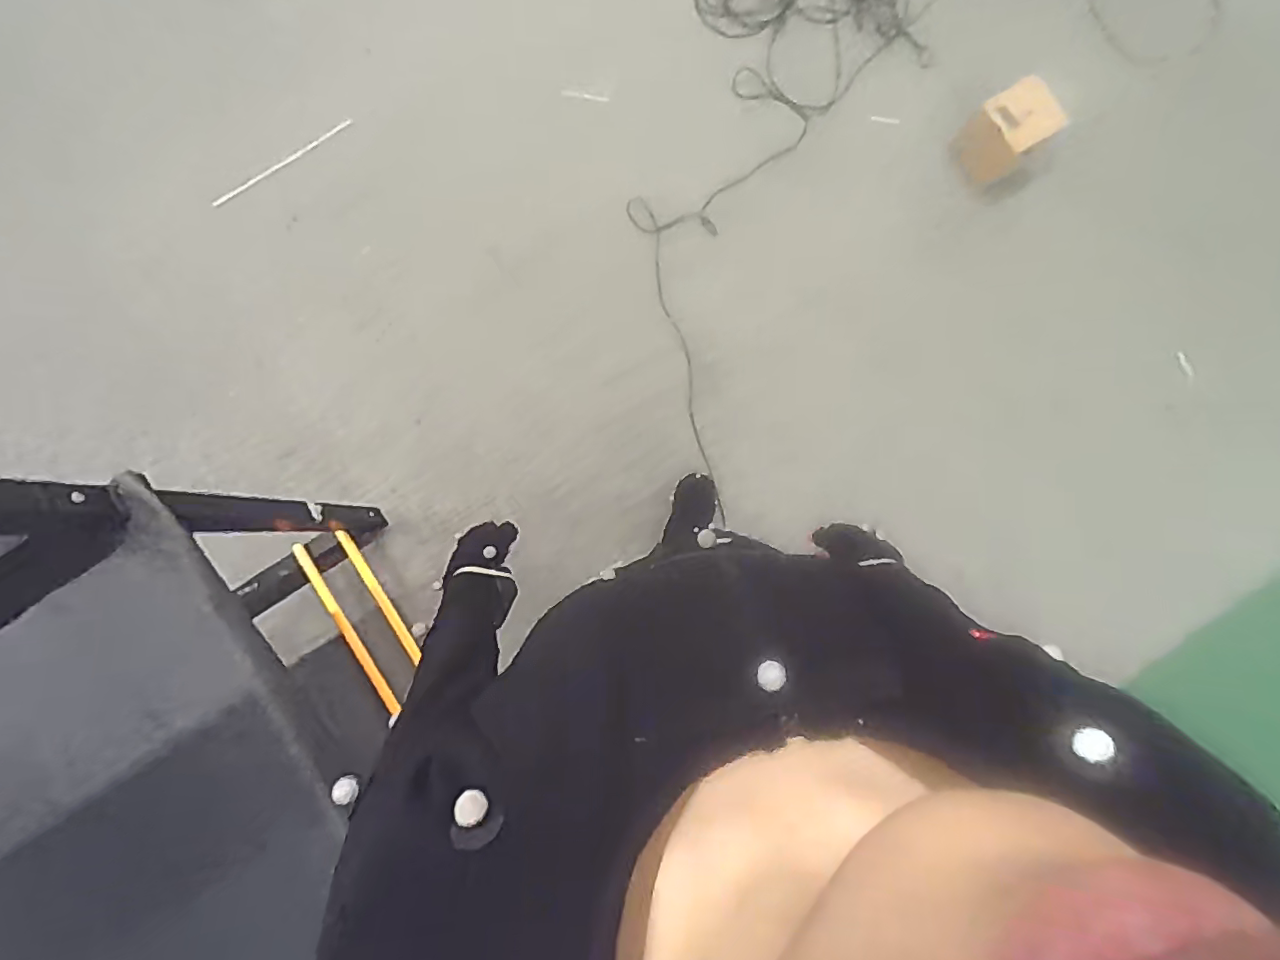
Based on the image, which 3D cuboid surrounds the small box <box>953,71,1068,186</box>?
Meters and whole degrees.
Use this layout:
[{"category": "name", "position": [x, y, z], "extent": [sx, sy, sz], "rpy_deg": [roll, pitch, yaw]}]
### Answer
[{"category": "small box", "position": [1.008, -0.962, 1.495], "extent": [0.179, 0.176, 0.168], "rpy_deg": [-30, 85, -2]}]
